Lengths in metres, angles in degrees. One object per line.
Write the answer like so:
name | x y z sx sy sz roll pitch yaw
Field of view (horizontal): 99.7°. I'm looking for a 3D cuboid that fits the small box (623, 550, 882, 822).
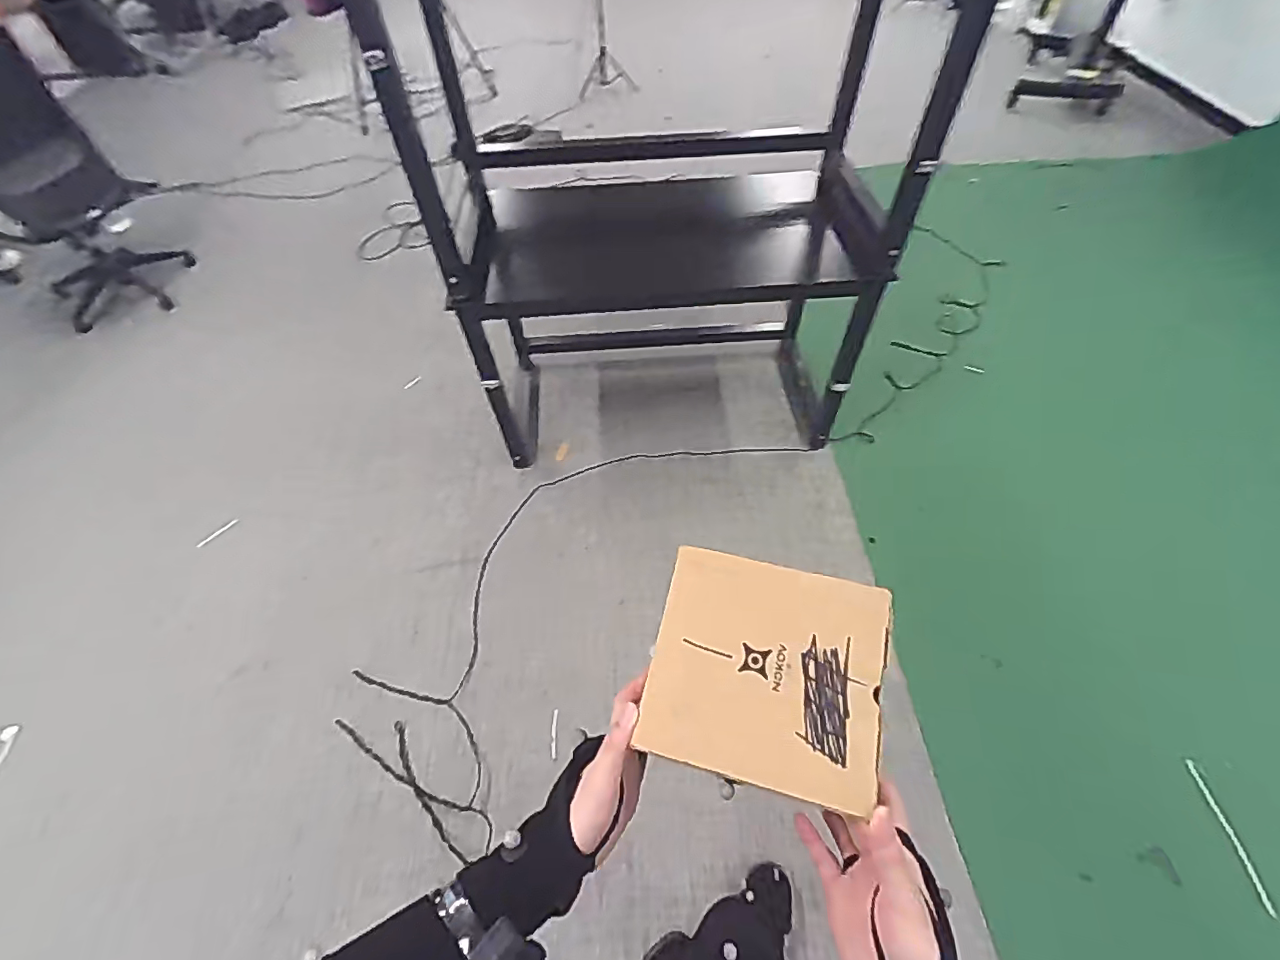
small box | 0.098 0.184 0.488 0.179 0.176 0.168 11 63 12
